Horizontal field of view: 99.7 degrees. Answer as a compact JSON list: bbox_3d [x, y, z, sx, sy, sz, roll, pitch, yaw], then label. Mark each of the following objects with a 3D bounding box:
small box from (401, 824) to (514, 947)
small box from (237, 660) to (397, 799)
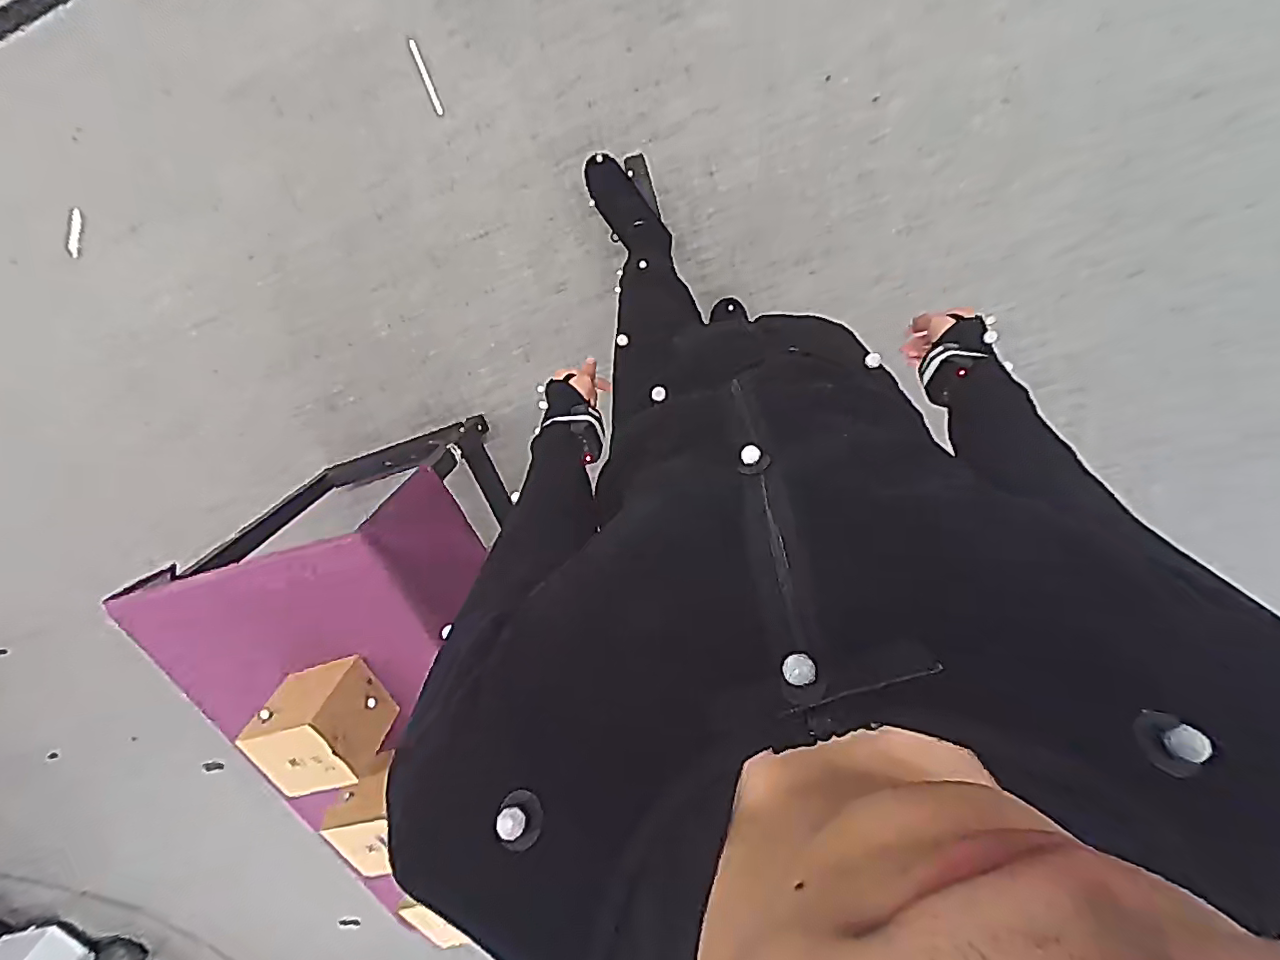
[{"bbox_3d":[-0.420,0.959,1.288,0.179,0.176,0.168,-25,111,15],"label":"small box"},{"bbox_3d":[-0.624,0.488,1.070,0.179,0.176,0.168,-18,114,11],"label":"small box"}]
